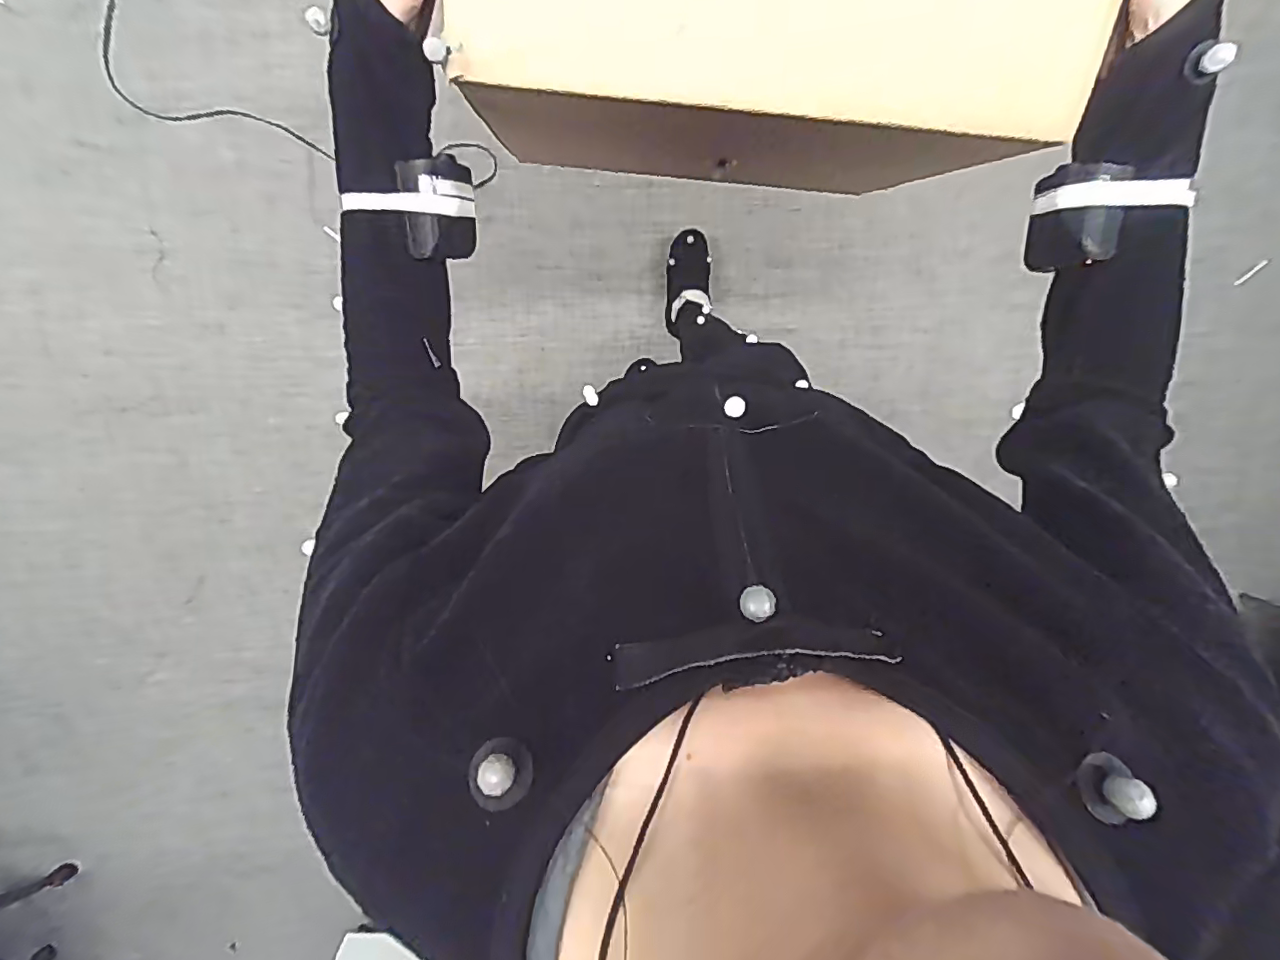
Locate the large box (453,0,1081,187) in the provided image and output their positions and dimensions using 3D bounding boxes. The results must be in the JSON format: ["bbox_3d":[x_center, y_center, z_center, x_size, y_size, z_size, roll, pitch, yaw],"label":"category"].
[{"bbox_3d":[0.083,-0.436,0.440,0.408,0.320,0.320,3,112,-5],"label":"large box"}]
